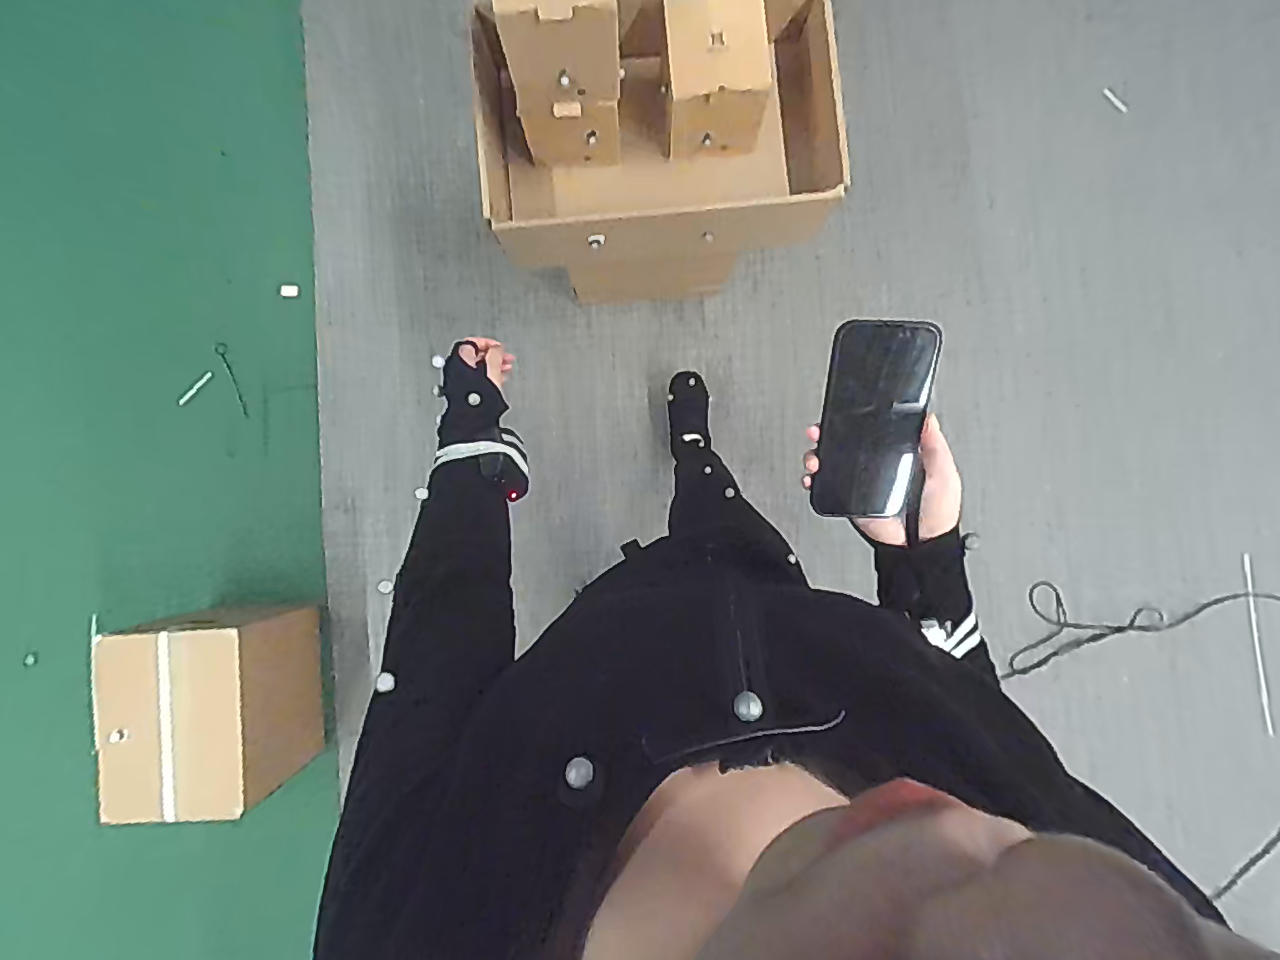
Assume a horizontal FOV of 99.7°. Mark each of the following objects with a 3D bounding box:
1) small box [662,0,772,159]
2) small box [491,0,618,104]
[{"bbox_3d":[0.128,-0.710,0.959,0.168,0.176,0.179,-5,89,1],"label":"small box"},{"bbox_3d":[-0.121,-0.700,0.795,0.168,0.176,0.179,-4,88,0],"label":"small box"}]
